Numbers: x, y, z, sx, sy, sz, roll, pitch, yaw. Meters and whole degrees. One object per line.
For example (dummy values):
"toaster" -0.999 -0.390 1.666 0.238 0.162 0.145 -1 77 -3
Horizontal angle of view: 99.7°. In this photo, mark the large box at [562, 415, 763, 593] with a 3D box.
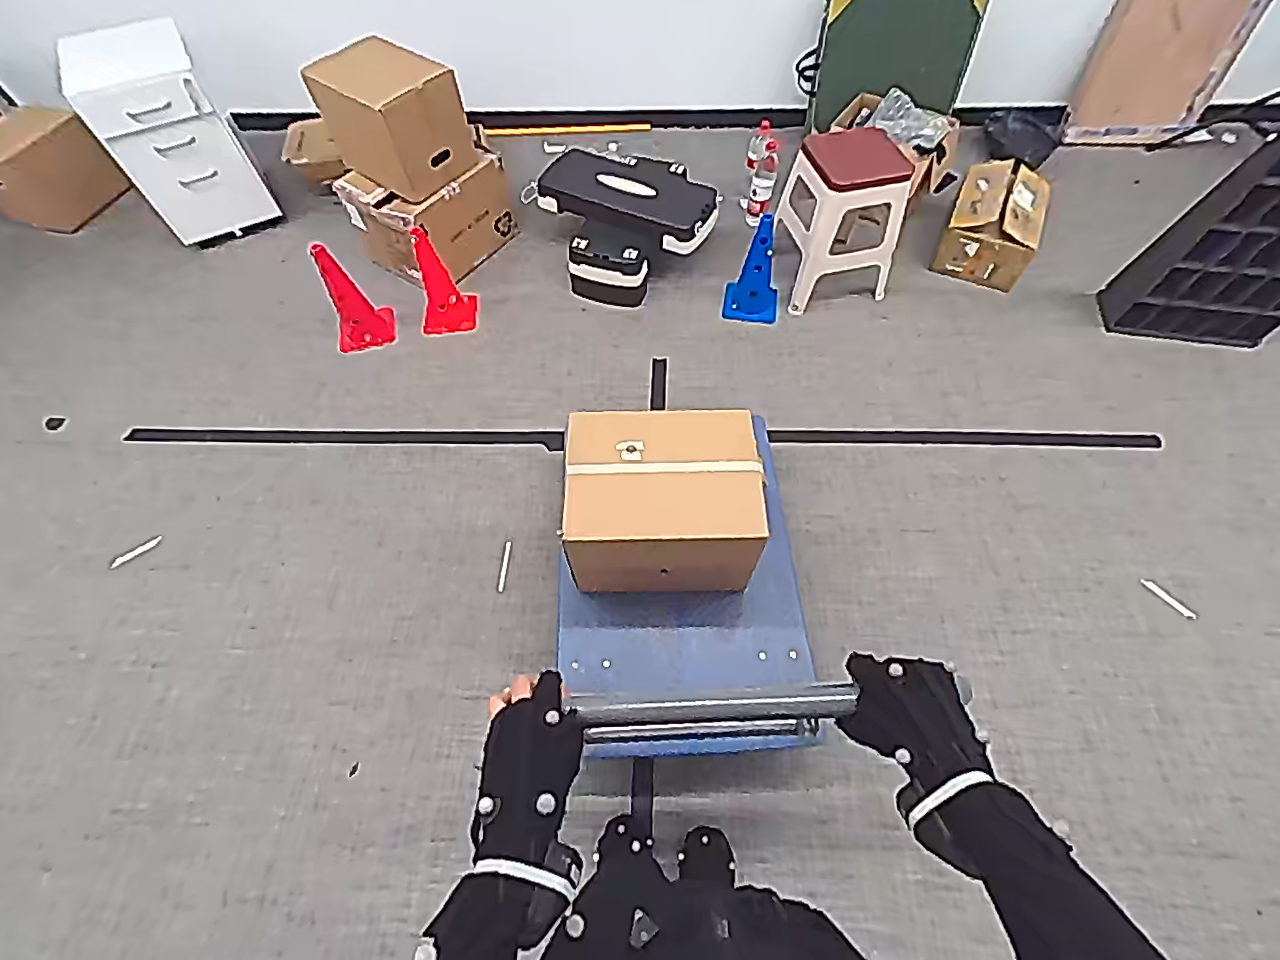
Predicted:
"large box" 0.047 0.067 1.264 0.408 0.320 0.320 -2 59 1
